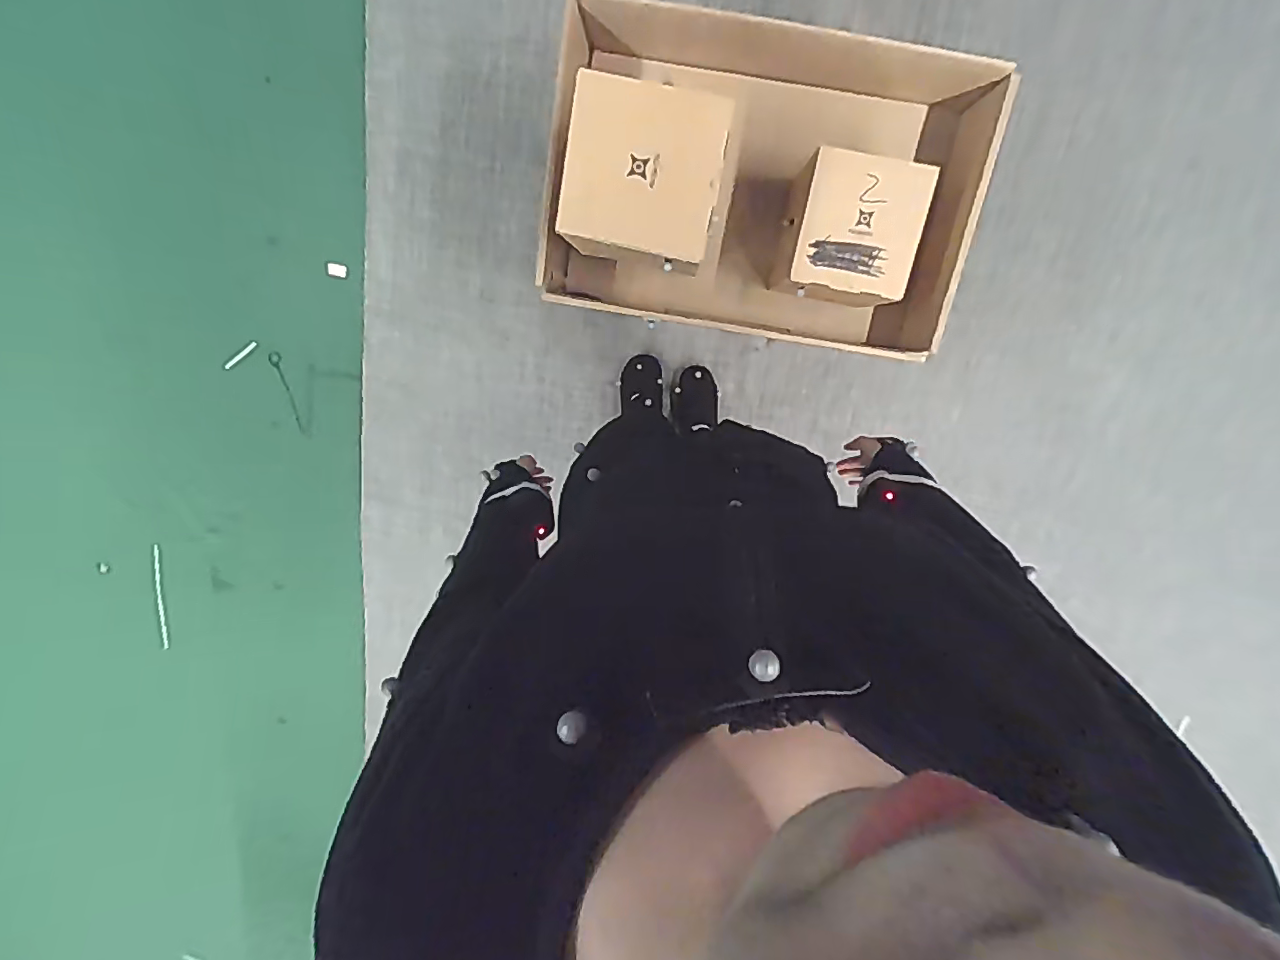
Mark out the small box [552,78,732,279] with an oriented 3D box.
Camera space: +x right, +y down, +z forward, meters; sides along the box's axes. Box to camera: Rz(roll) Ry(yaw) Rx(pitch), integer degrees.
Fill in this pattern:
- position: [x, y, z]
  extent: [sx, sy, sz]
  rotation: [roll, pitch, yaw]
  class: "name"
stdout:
- position: [0.003, -0.357, 0.677]
  extent: [0.179, 0.176, 0.168]
  rotation: [12, 105, -1]
  class: "small box"
